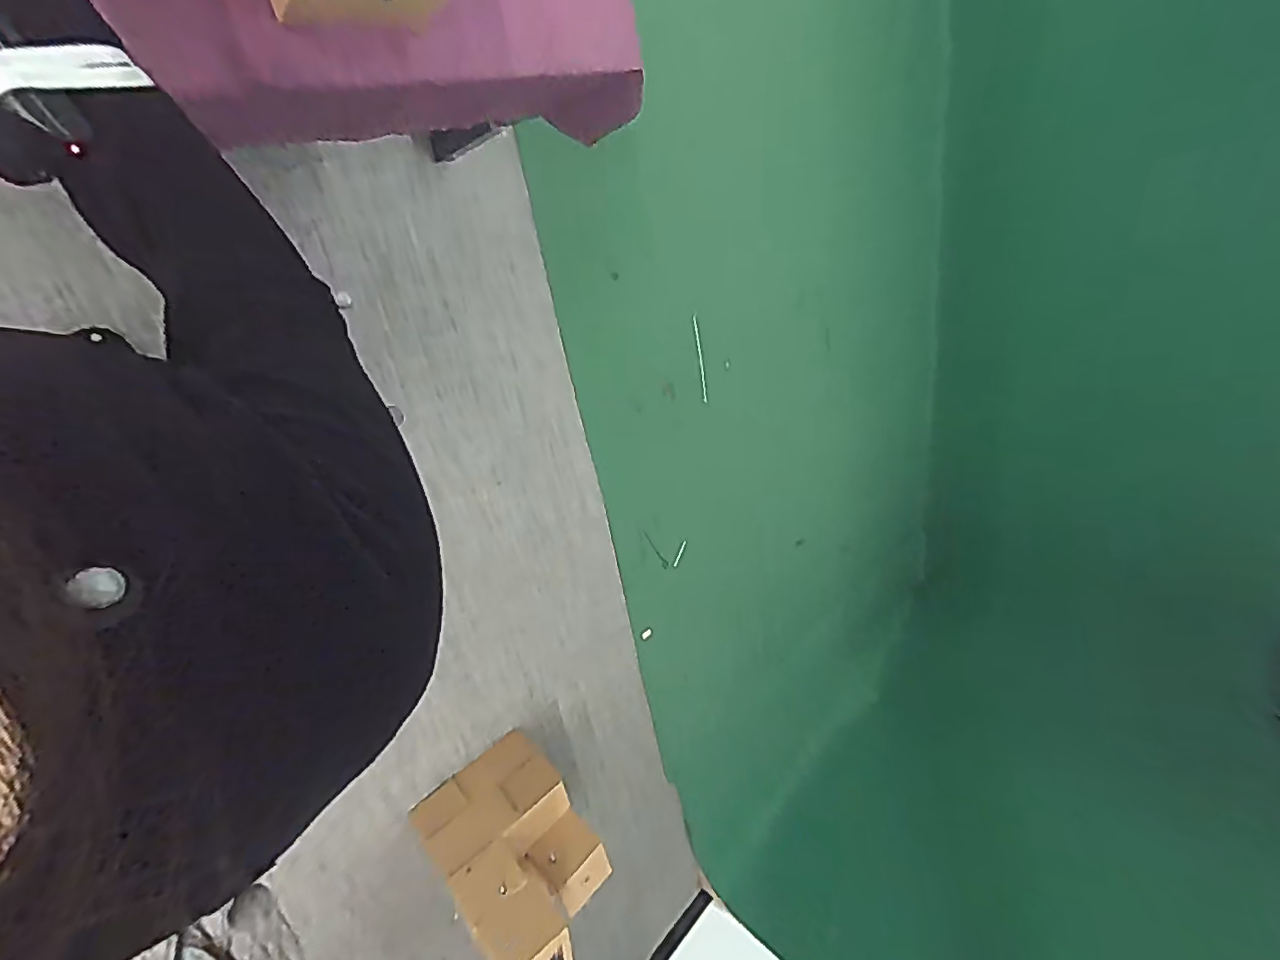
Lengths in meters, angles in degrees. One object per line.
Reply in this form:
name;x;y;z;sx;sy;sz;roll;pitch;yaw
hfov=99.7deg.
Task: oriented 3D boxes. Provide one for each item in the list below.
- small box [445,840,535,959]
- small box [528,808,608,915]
small box;-0.419;1.162;1.508;0.168;0.176;0.179;-25;119;-37
small box;-0.232;1.193;1.703;0.179;0.176;0.168;-32;124;-35
